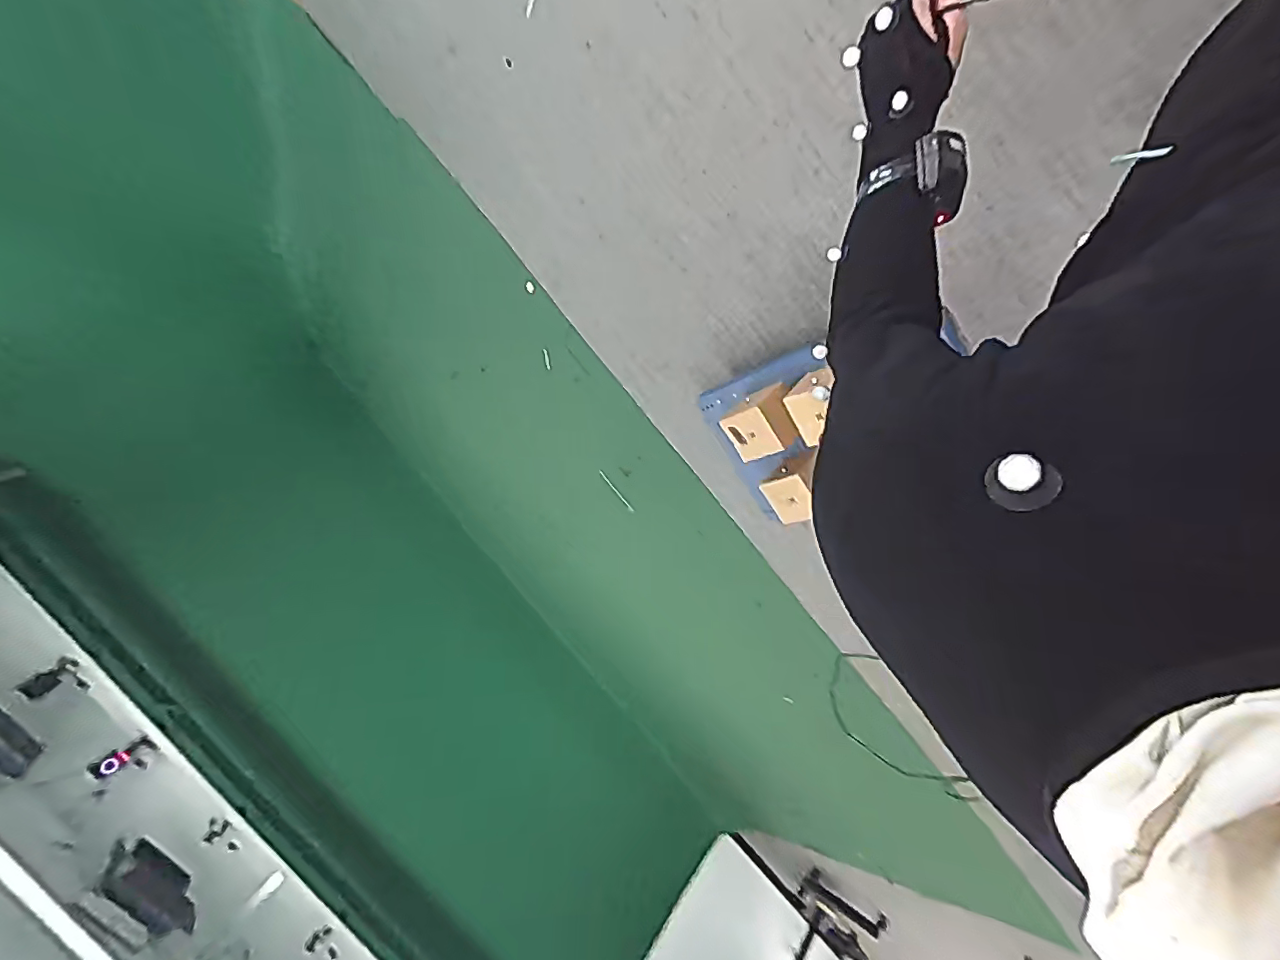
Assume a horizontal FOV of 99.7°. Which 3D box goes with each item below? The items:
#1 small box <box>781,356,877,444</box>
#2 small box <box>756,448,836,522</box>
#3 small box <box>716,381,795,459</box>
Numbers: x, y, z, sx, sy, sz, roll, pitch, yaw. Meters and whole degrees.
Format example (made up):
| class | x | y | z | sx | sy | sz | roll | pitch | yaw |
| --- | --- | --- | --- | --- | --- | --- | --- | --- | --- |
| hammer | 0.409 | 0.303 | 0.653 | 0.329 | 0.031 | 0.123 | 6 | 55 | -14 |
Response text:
| class | x | y | z | sx | sy | sz | roll | pitch | yaw |
| --- | --- | --- | --- | --- | --- | --- | --- | --- | --- |
| small box | 0.542 | -0.228 | 1.546 | 0.179 | 0.176 | 0.168 | -14 | 114 | 51 |
| small box | 0.527 | 0.015 | 1.801 | 0.168 | 0.176 | 0.179 | 55 | 145 | -10 |
| small box | 0.386 | -0.193 | 1.744 | 0.179 | 0.176 | 0.168 | -18 | 111 | 52 |
